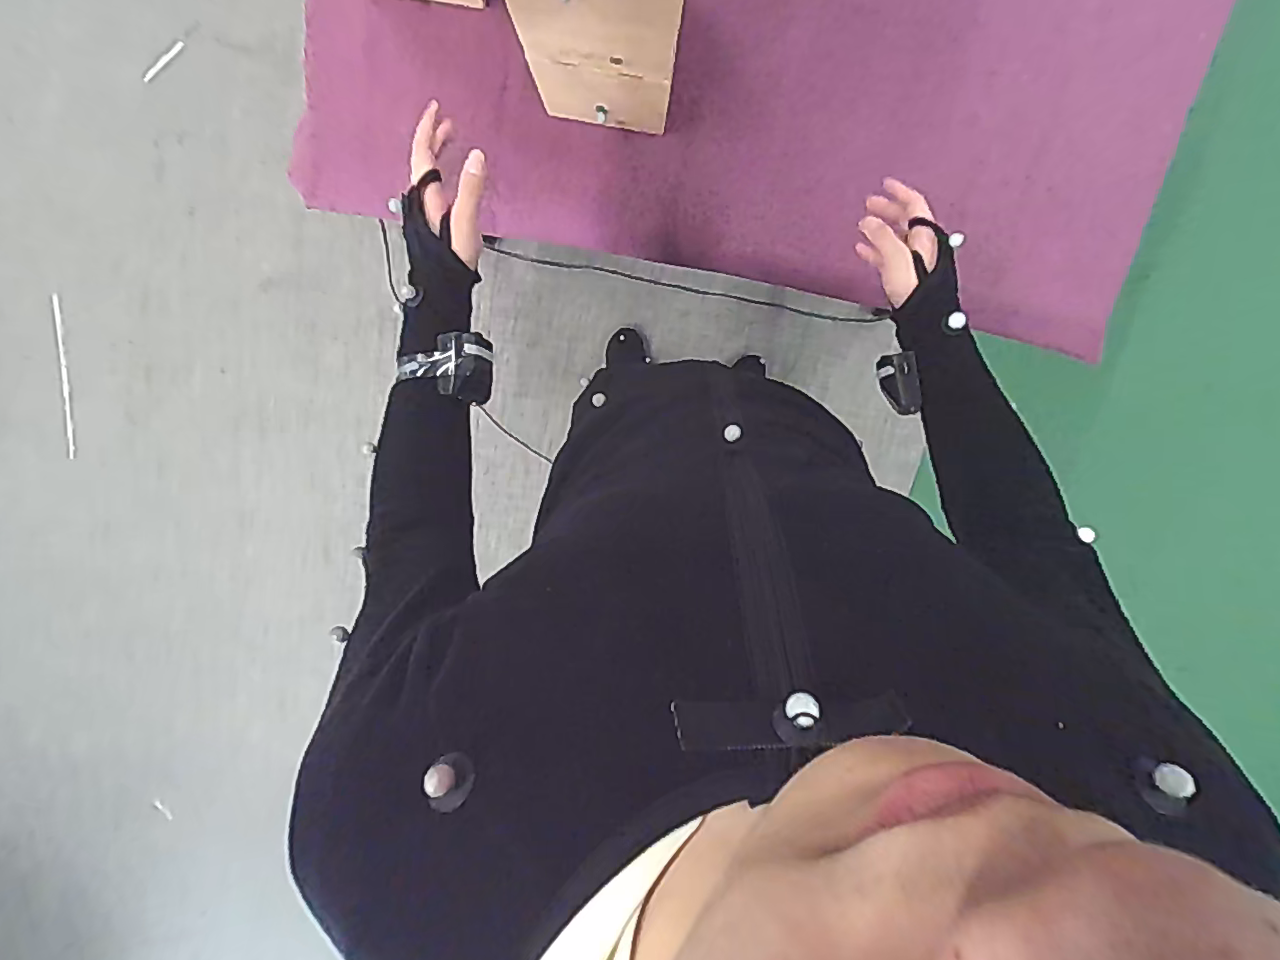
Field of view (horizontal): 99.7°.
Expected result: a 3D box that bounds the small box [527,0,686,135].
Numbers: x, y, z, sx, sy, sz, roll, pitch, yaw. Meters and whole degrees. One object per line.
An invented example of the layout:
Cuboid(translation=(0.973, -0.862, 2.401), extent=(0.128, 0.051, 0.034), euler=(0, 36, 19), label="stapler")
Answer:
Cuboid(translation=(-0.032, -0.559, 0.660), extent=(0.168, 0.176, 0.179), euler=(9, 105, -2), label="small box")

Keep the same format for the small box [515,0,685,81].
Cuboid(translation=(-0.031, -0.519, 0.500), extent=(0.168, 0.176, 0.179), euler=(9, 104, -2), label="small box")

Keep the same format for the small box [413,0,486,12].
Cuboid(translation=(-0.273, -0.699, 0.621), extent=(0.168, 0.176, 0.179), euler=(8, 106, -2), label="small box")
